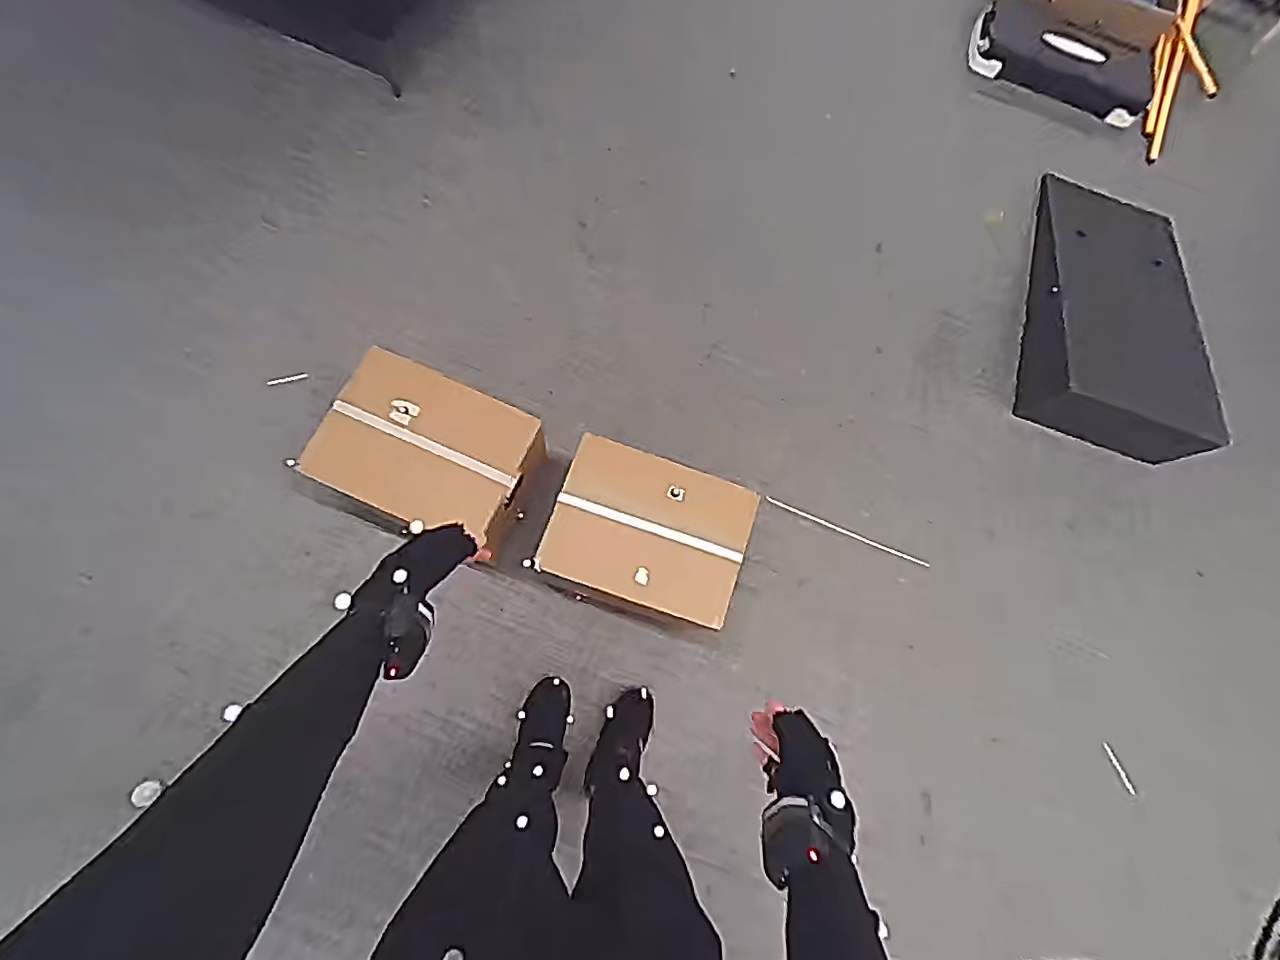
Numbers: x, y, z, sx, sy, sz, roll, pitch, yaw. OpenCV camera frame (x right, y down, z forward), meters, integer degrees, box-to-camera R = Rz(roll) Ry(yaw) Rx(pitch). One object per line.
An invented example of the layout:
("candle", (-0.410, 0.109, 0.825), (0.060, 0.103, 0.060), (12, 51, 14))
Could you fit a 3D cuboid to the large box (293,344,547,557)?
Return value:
("large box", (-0.467, -0.046, 1.258), (0.408, 0.320, 0.320), (24, 73, 1))
